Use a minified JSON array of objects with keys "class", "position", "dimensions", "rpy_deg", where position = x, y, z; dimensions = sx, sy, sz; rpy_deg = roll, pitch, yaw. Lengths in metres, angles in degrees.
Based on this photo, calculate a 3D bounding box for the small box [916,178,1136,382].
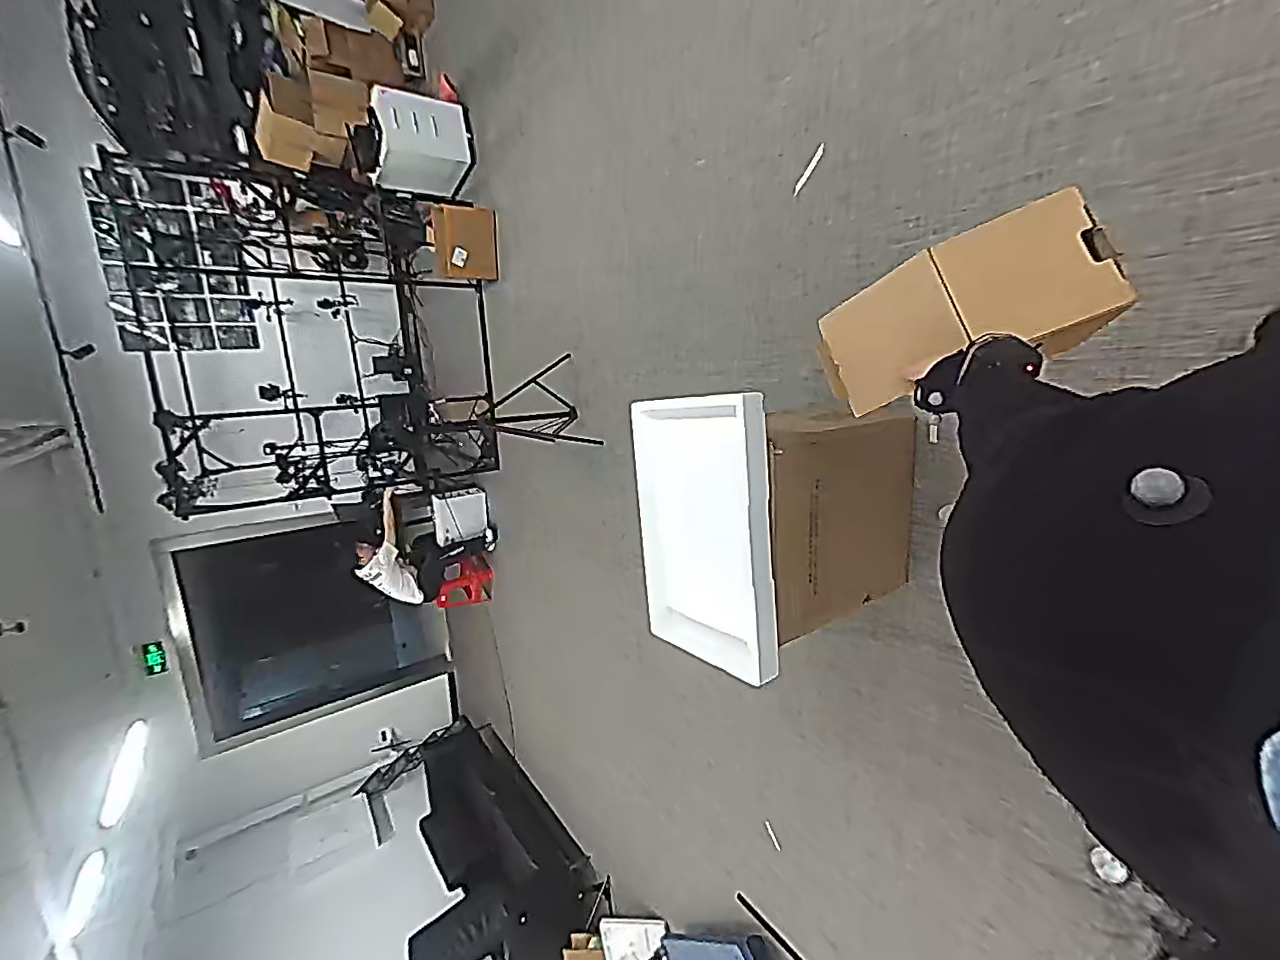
[{"class":"small box","position":[0.492,-0.250,0.728],"dimensions":[0.179,0.176,0.168],"rpy_deg":[-21,79,16]}]
